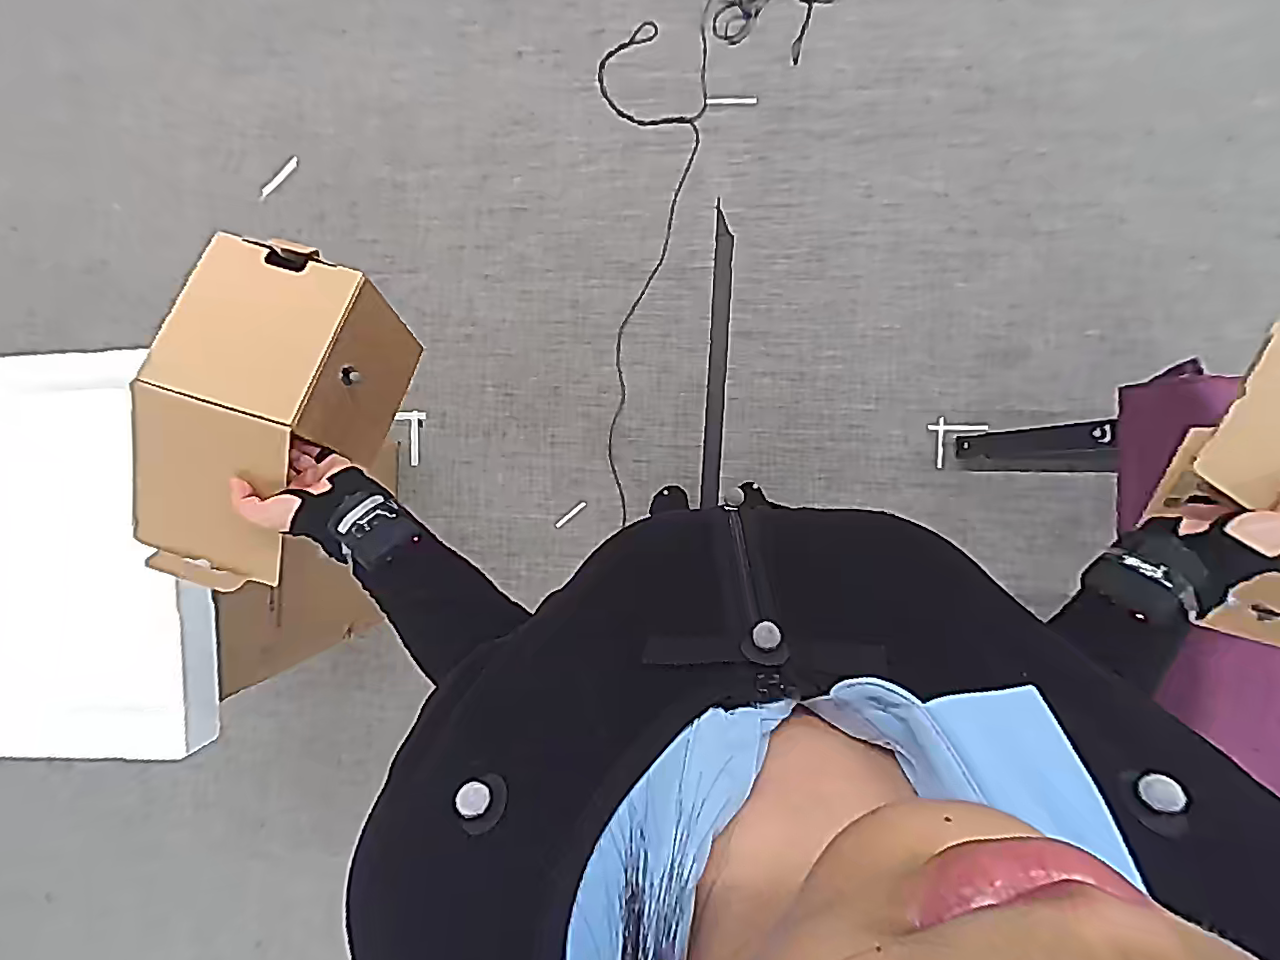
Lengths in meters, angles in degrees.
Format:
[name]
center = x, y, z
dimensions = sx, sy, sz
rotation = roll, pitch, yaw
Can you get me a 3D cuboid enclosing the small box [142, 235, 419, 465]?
[small box]
center = -0.380, -0.132, 0.612
dimensions = 0.168, 0.176, 0.179
rotation = 17, 76, 3
